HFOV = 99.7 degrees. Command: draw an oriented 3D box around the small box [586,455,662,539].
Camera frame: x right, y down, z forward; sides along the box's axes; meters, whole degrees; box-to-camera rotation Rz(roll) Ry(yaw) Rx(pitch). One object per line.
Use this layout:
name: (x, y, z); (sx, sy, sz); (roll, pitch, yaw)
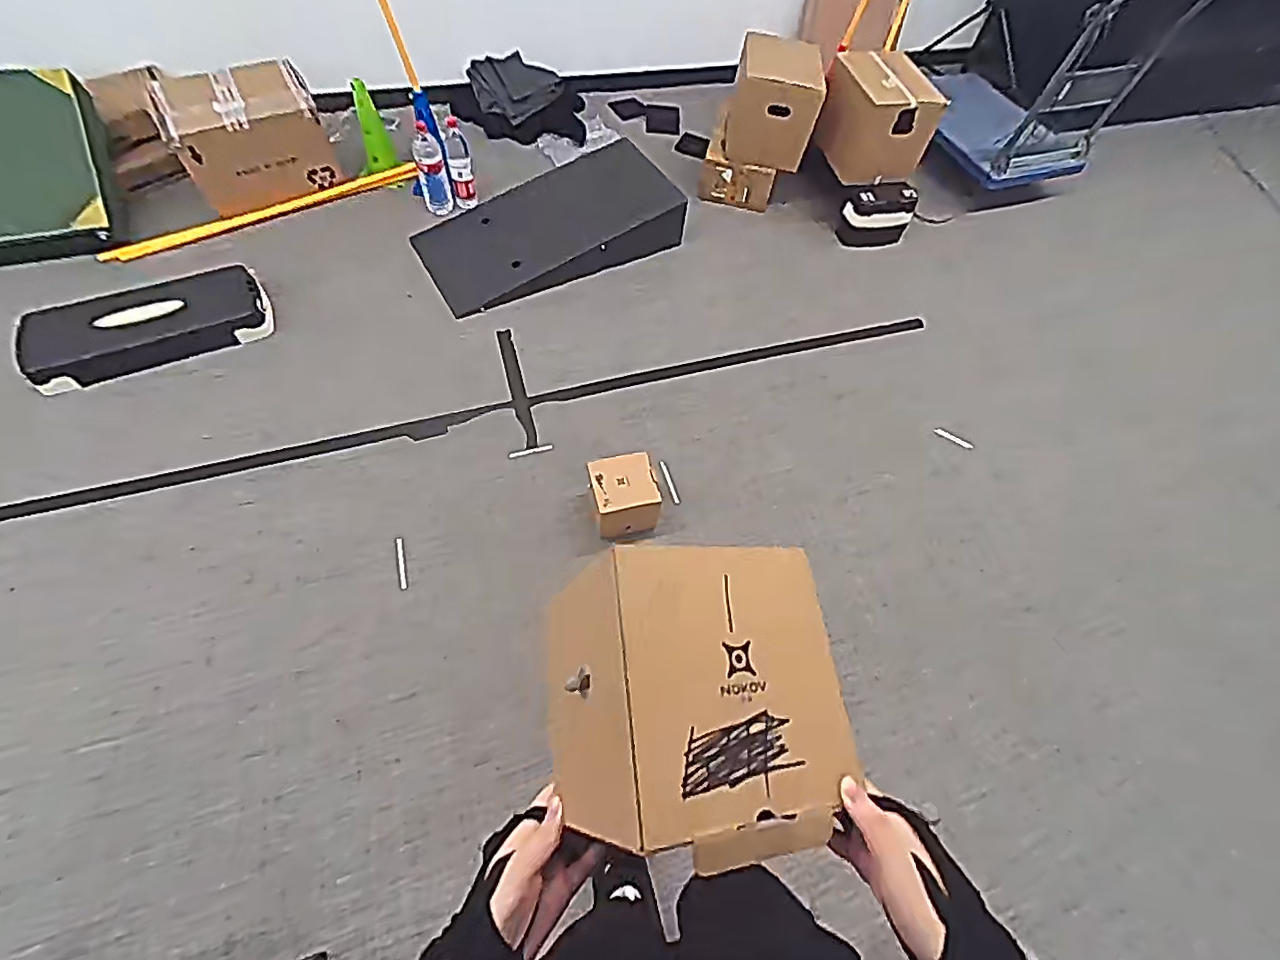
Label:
small box: (-0.052, 0.051, 1.538); (0.179, 0.176, 0.168); (-10, 61, -13)
